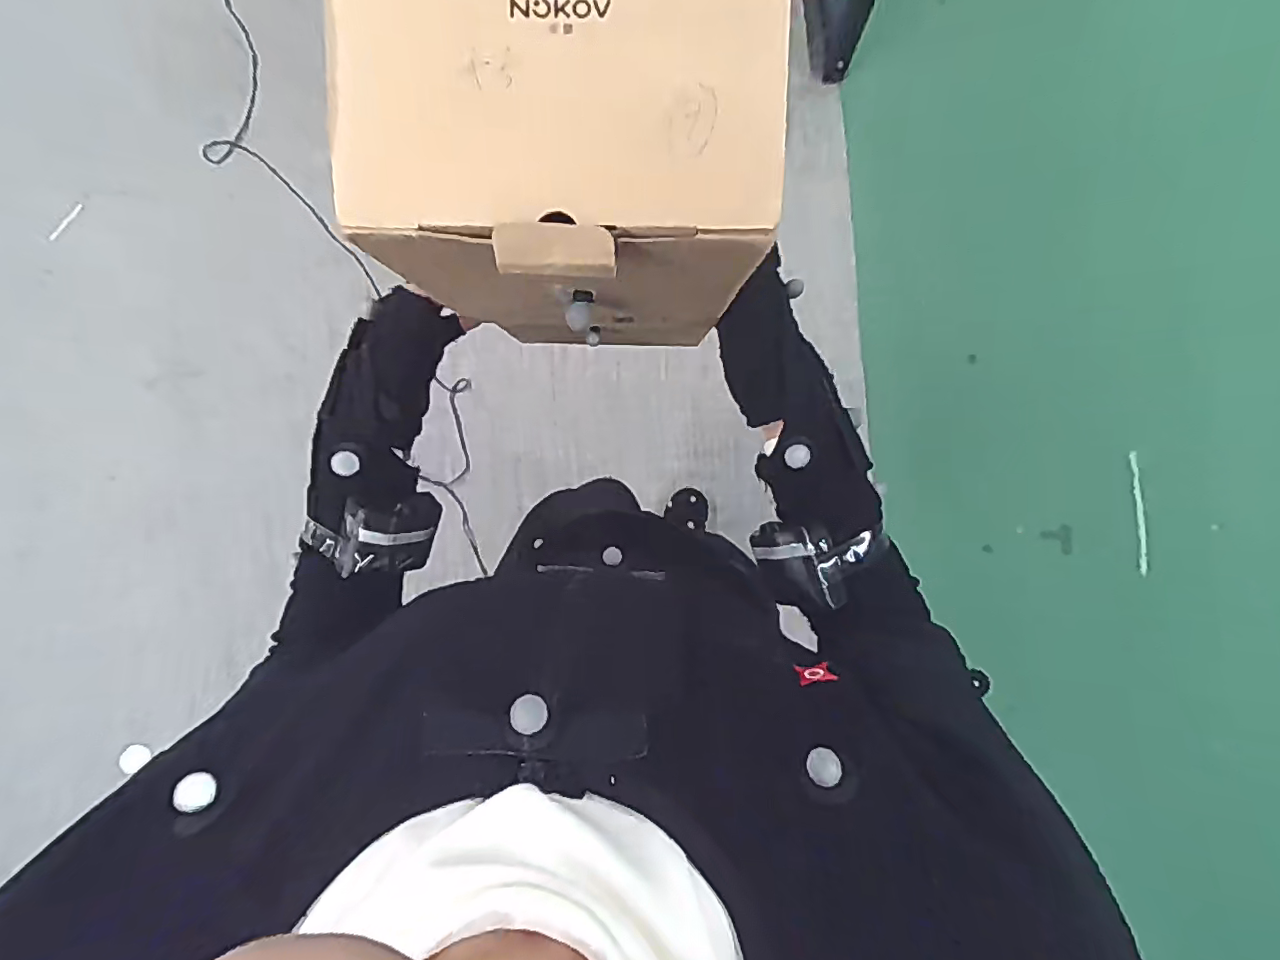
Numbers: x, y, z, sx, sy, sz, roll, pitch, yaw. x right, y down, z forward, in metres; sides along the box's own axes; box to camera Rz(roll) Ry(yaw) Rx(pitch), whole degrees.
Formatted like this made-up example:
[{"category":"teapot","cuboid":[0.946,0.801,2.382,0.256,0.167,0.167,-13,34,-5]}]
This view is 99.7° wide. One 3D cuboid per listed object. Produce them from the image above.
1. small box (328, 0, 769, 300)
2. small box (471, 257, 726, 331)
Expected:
[{"category":"small box","cuboid":[-0.031,-0.197,0.277,0.168,0.176,0.179,1,96,0]},{"category":"small box","cuboid":[-0.026,-0.220,0.439,0.179,0.176,0.168,1,96,1]}]
